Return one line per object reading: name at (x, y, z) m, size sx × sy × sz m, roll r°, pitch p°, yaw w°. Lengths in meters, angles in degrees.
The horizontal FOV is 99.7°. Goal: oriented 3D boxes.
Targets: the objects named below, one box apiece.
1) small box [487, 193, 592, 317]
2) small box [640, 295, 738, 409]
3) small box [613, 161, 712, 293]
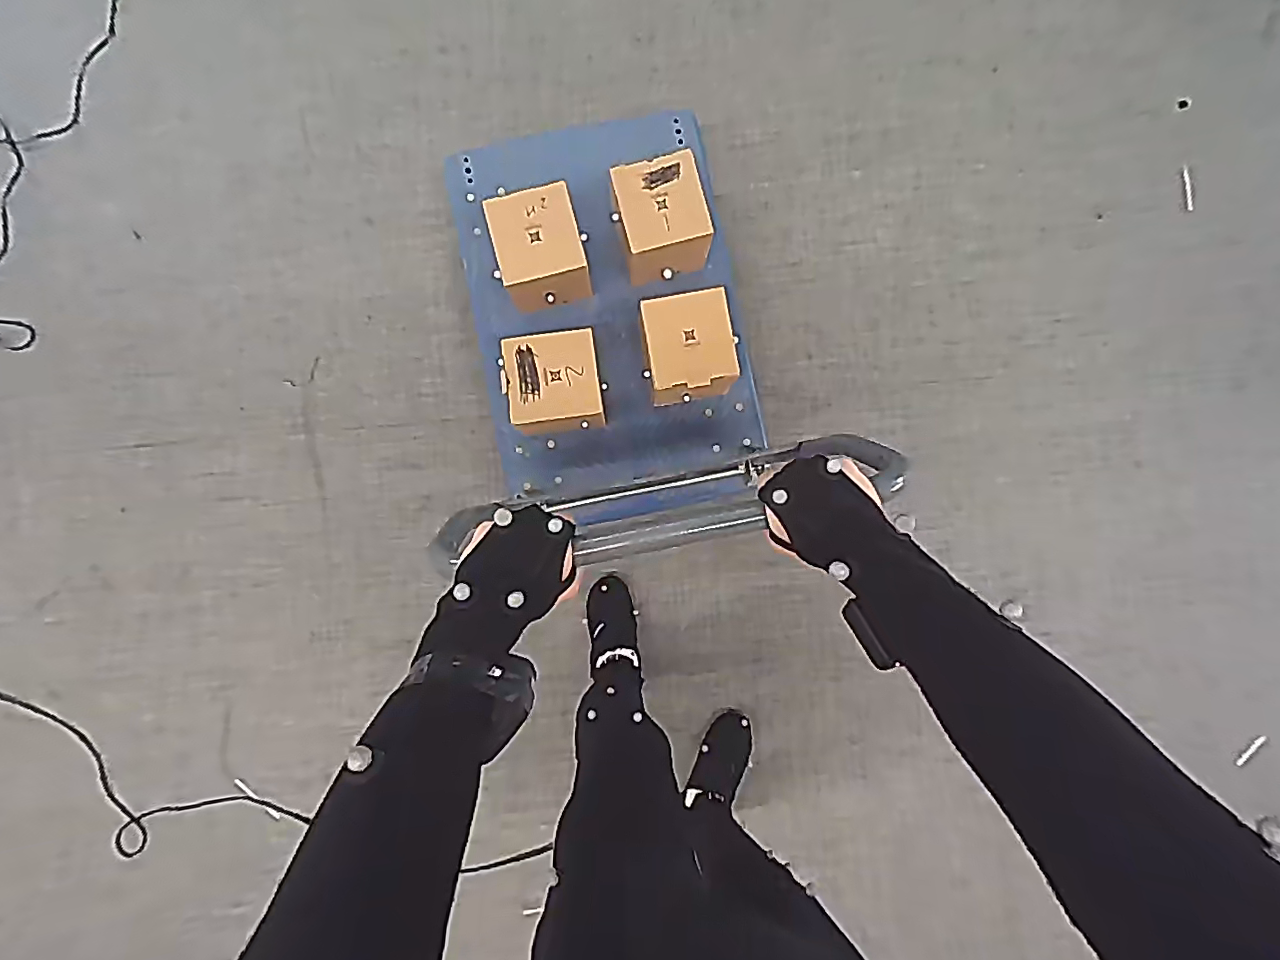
small box at (-0.201, -0.459, 1.135) m, size 0.168 × 0.176 × 0.179 m, roll -15°, pitch 87°, yaw -2°
small box at (0.095, -0.260, 1.130) m, size 0.168 × 0.176 × 0.179 m, roll -10°, pitch 87°, yaw -1°
small box at (0.041, -0.526, 1.142) m, size 0.168 × 0.176 × 0.179 m, roll -15°, pitch 88°, yaw -1°
